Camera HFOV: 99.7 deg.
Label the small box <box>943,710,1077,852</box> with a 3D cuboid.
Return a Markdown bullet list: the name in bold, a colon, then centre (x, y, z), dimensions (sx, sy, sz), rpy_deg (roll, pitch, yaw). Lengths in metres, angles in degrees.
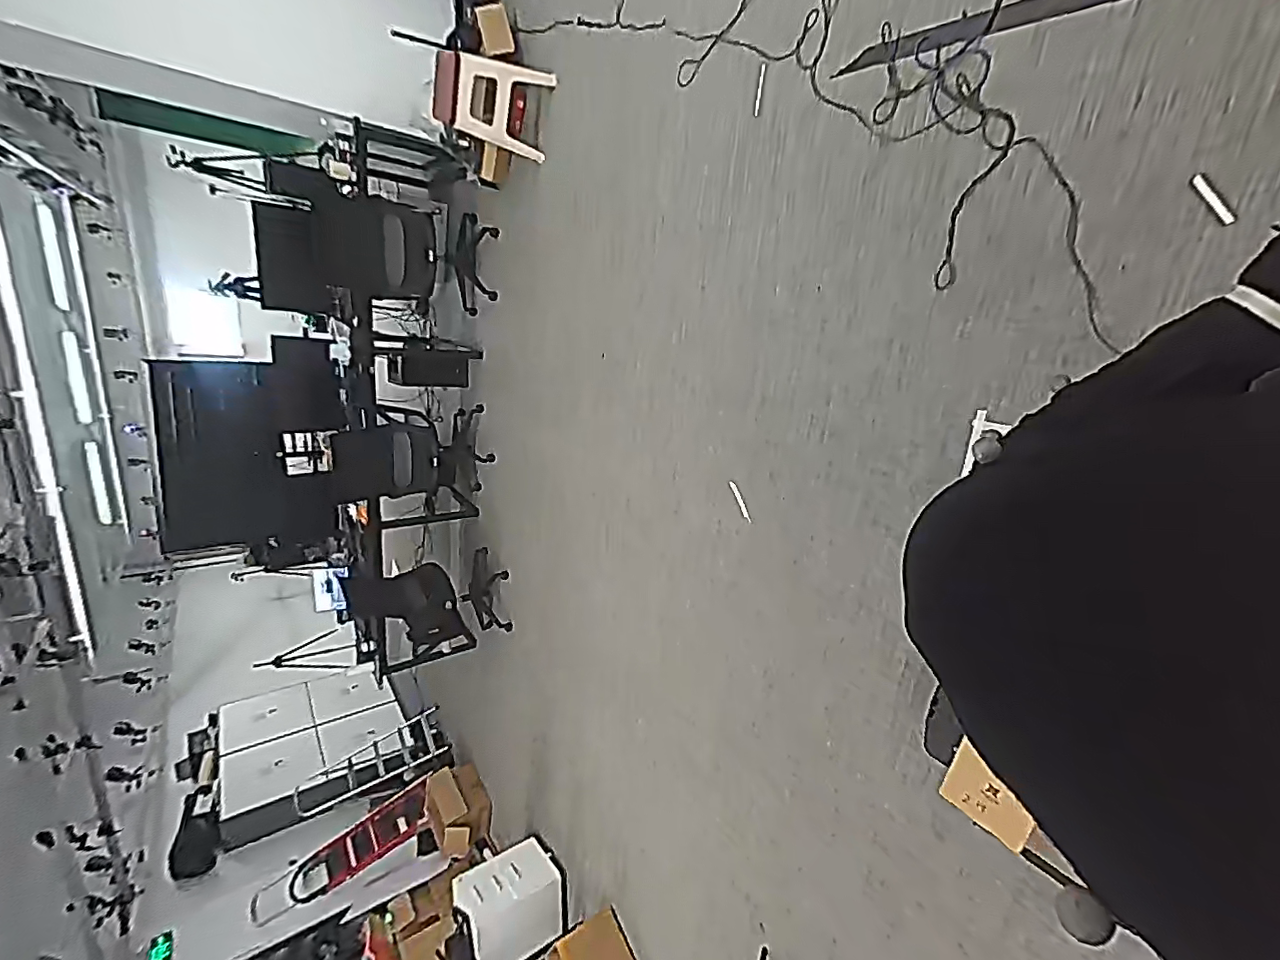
- **small box**: centre (0.796, 0.633, 1.161), dimensions (0.168, 0.176, 0.179), rpy_deg (32, 121, 47)
